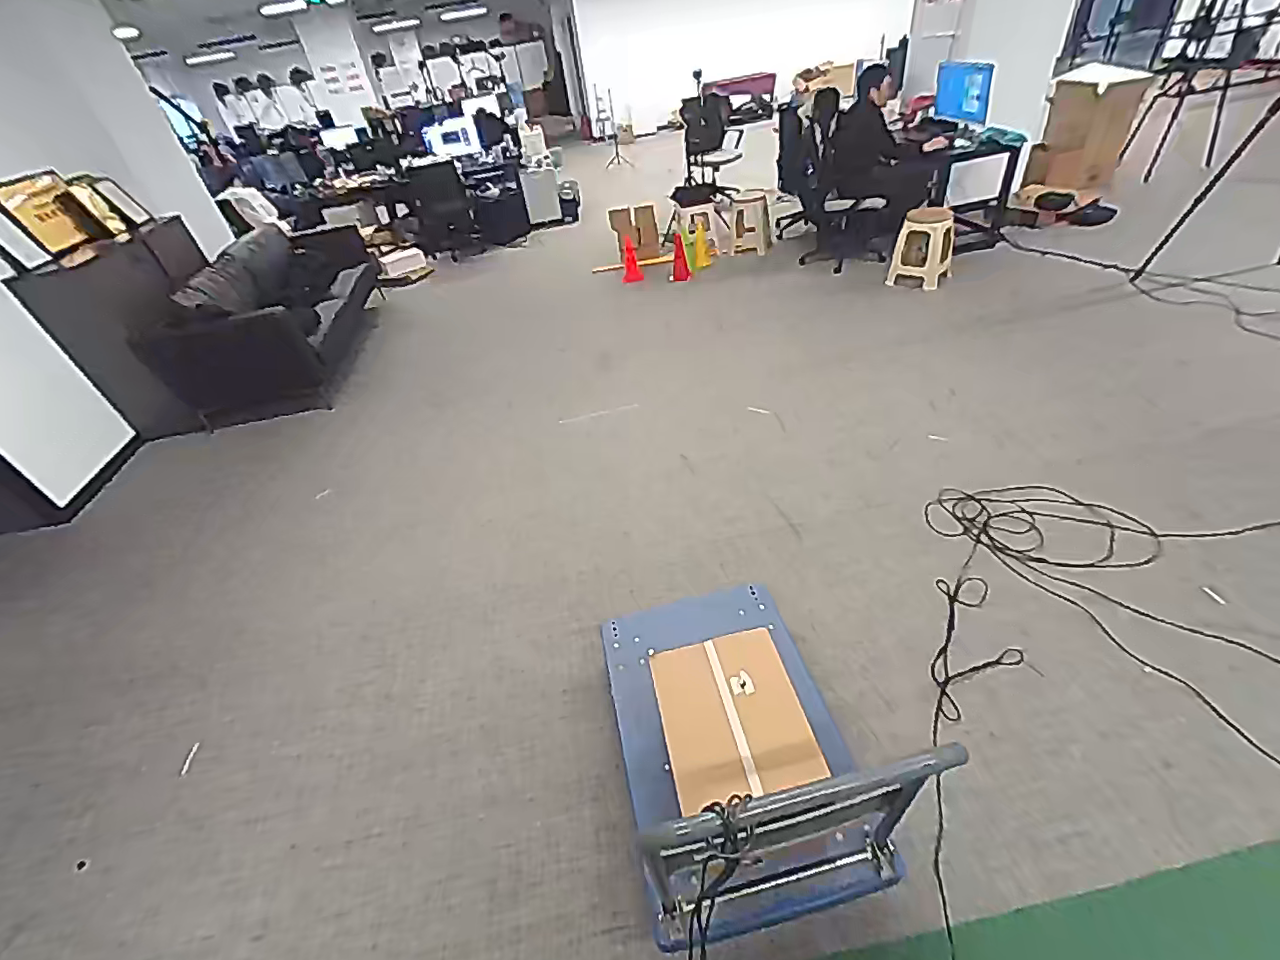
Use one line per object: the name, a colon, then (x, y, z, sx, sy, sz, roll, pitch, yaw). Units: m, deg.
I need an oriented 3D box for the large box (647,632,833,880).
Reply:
large box: (0.225, 0.652, 1.306, 0.320, 0.320, 0.408, -12, 38, -3)
